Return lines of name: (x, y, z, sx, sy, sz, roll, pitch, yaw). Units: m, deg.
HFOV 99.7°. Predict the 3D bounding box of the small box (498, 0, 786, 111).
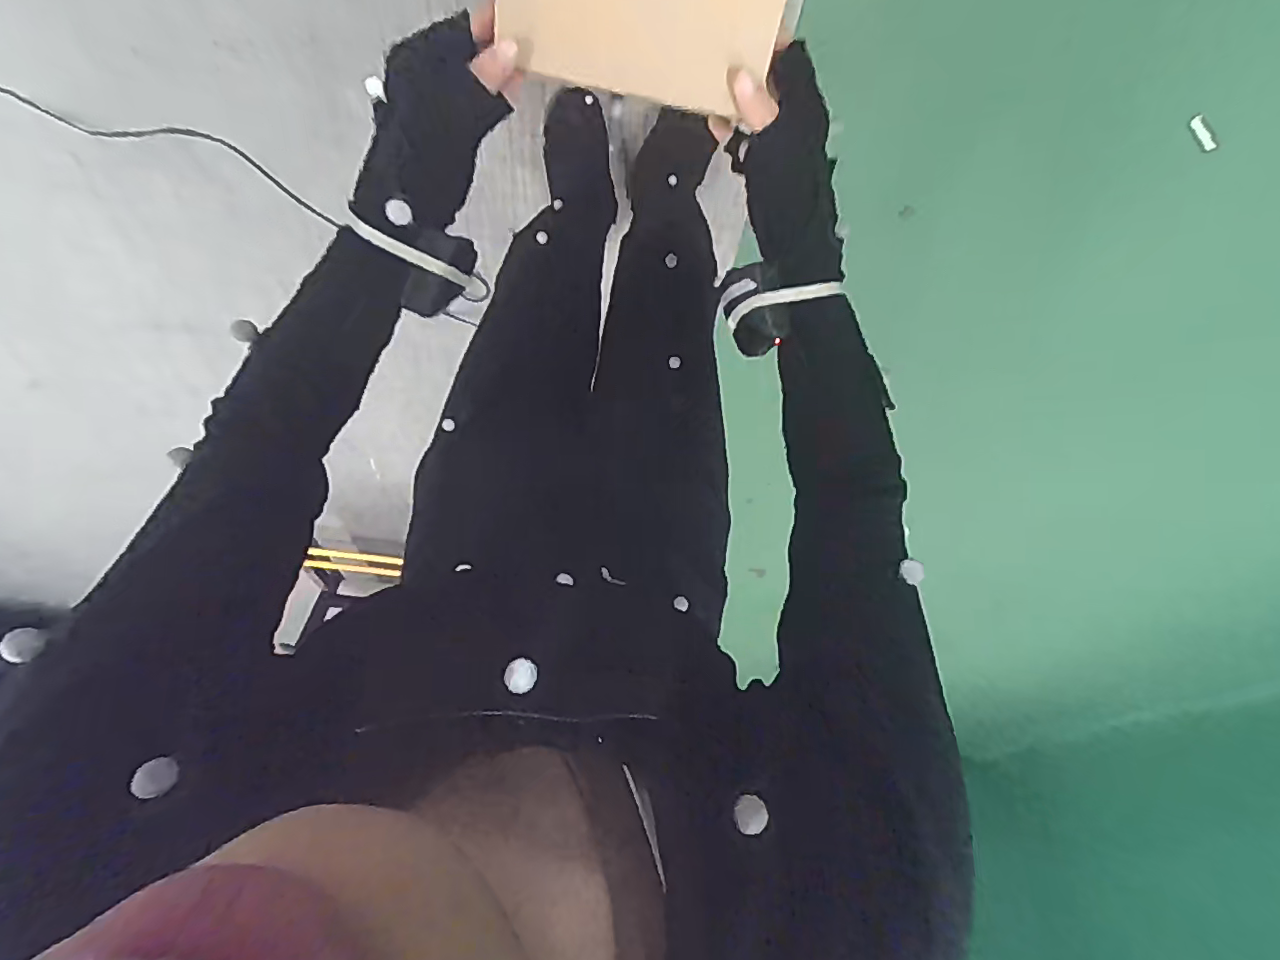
small box: (0.009, -0.360, 0.347, 0.168, 0.176, 0.179, 7, 125, -8)
